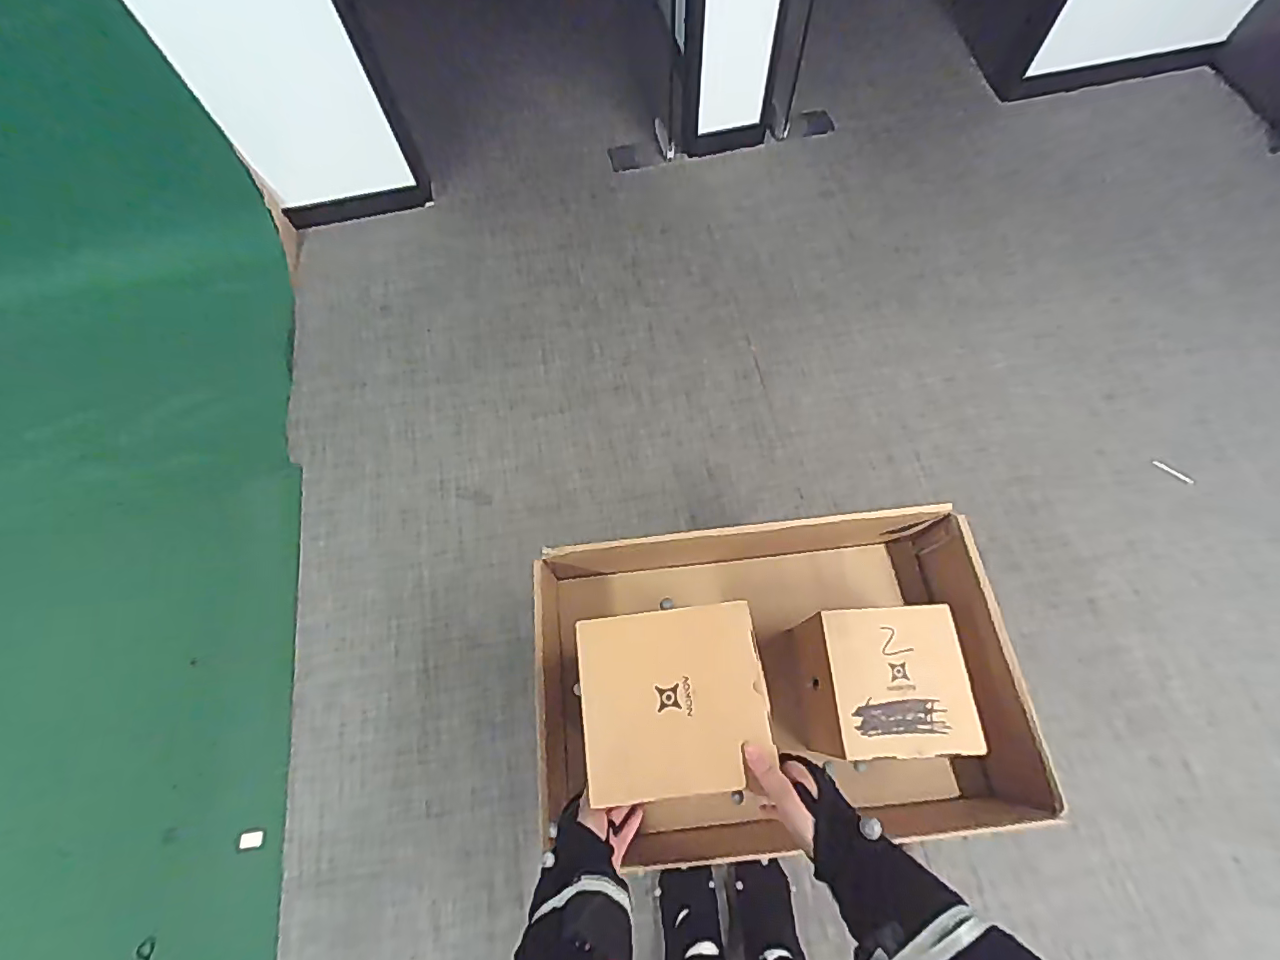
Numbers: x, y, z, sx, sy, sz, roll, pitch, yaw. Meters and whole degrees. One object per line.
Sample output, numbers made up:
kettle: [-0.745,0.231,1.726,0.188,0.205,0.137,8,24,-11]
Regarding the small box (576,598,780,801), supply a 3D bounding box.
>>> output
small box: [0.033,0.234,0.584,0.179,0.176,0.168,-7,67,-3]
